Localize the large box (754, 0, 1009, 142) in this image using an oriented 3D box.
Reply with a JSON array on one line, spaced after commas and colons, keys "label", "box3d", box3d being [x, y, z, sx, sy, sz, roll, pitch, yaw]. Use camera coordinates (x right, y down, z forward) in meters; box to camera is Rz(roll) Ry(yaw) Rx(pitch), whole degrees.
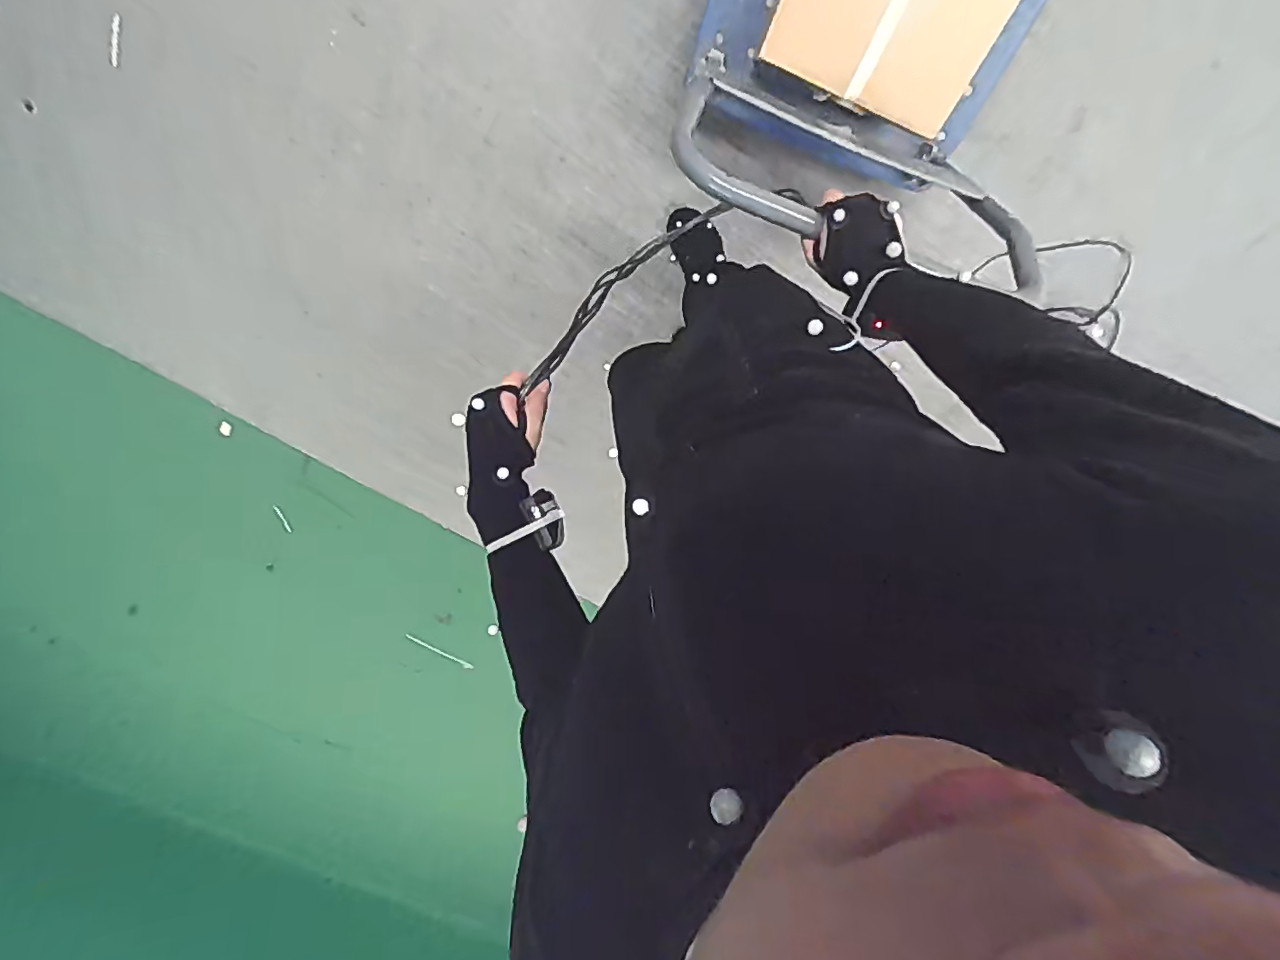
[{"label": "large box", "box3d": [0.408, -0.830, 0.867, 0.320, 0.320, 0.408, 21, 127, -7]}]
